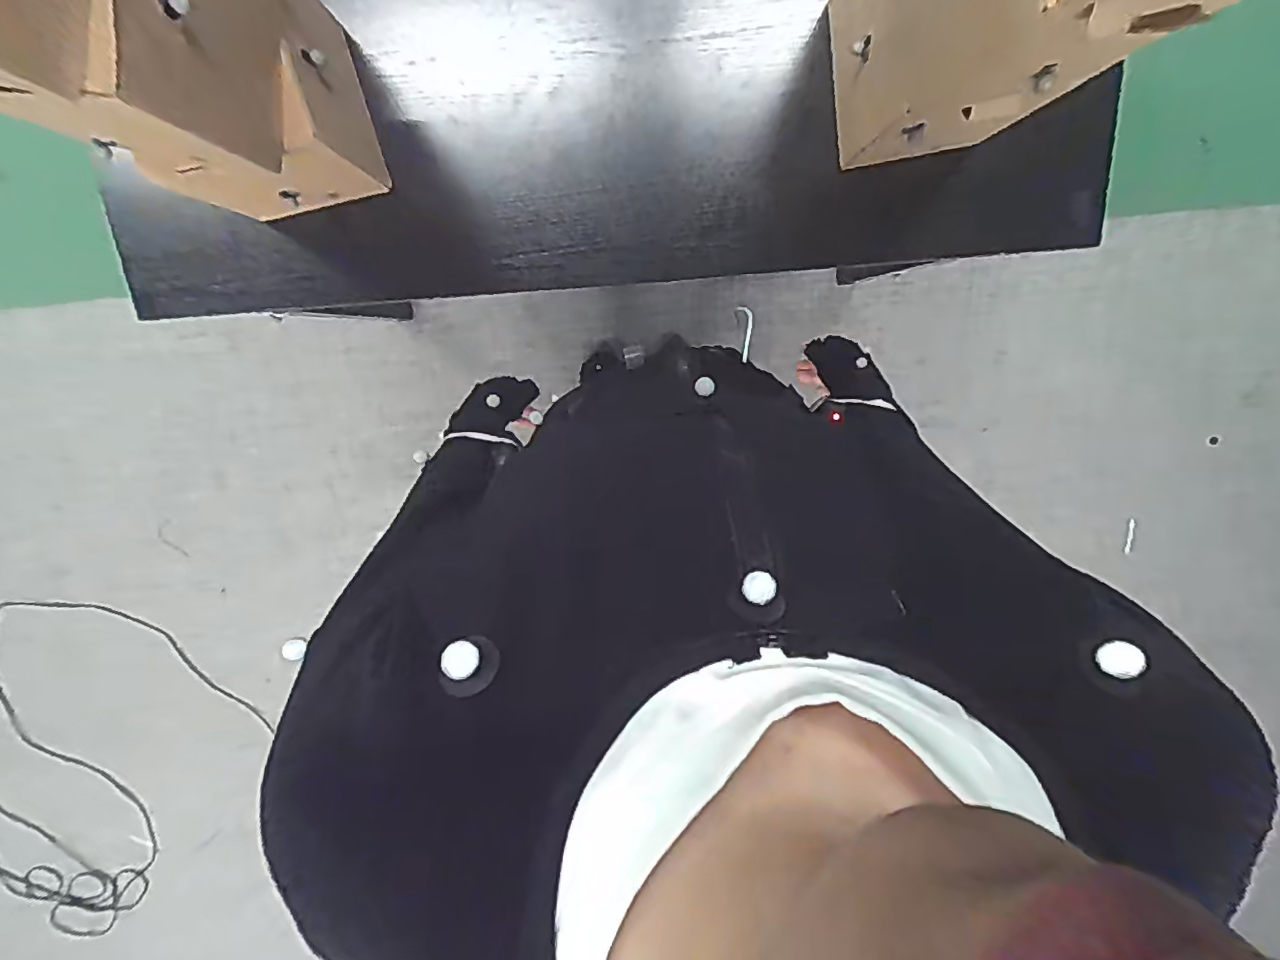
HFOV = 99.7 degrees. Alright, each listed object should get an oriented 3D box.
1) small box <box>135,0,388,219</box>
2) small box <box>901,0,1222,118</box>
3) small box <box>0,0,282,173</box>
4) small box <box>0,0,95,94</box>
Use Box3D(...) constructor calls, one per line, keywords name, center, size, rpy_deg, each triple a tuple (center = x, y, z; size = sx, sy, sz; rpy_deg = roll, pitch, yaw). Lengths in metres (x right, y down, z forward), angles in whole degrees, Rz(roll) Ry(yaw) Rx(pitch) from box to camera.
Box3D(name="small box", center=(-0.390, -0.389, 0.548), size=(0.168, 0.176, 0.179), rpy_deg=(-13, 106, 1))
Box3D(name="small box", center=(0.305, -0.404, 0.390), size=(0.168, 0.176, 0.179), rpy_deg=(-12, 104, 2))
Box3D(name="small box", center=(-0.389, -0.347, 0.390), size=(0.168, 0.176, 0.179), rpy_deg=(8, 104, -4))
Box3D(name="small box", center=(-0.387, -0.311, 0.229), size=(0.168, 0.176, 0.179), rpy_deg=(18, 105, -7))
